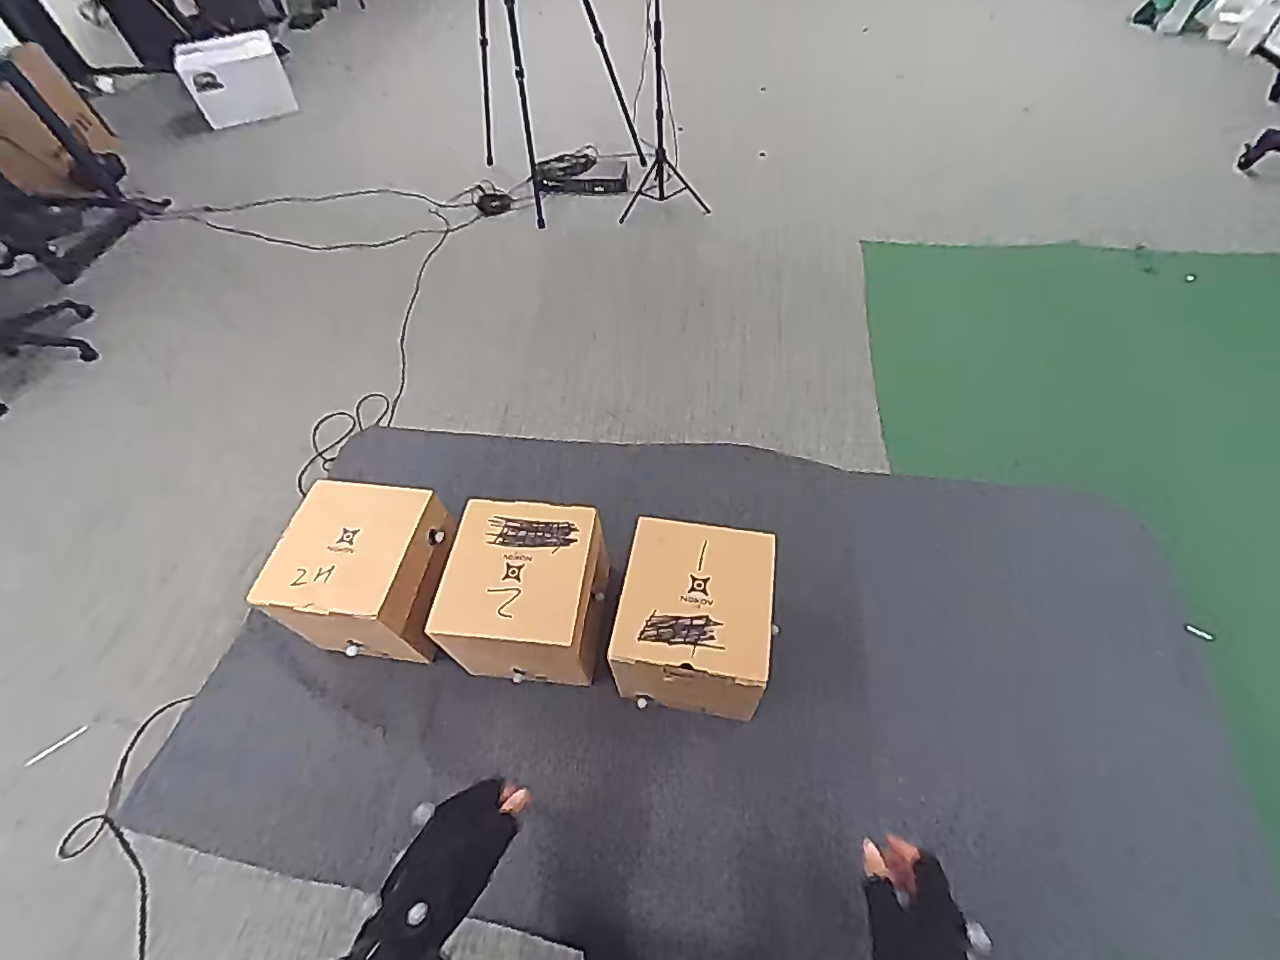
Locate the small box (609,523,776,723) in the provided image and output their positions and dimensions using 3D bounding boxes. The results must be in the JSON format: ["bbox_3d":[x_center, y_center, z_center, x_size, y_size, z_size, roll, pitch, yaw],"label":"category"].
[{"bbox_3d":[0.068,0.179,0.661,0.168,0.176,0.179,8,54,9],"label":"small box"}]

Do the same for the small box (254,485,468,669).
[{"bbox_3d":[-0.349,0.131,0.723,0.168,0.176,0.179,5,54,8],"label":"small box"}]
